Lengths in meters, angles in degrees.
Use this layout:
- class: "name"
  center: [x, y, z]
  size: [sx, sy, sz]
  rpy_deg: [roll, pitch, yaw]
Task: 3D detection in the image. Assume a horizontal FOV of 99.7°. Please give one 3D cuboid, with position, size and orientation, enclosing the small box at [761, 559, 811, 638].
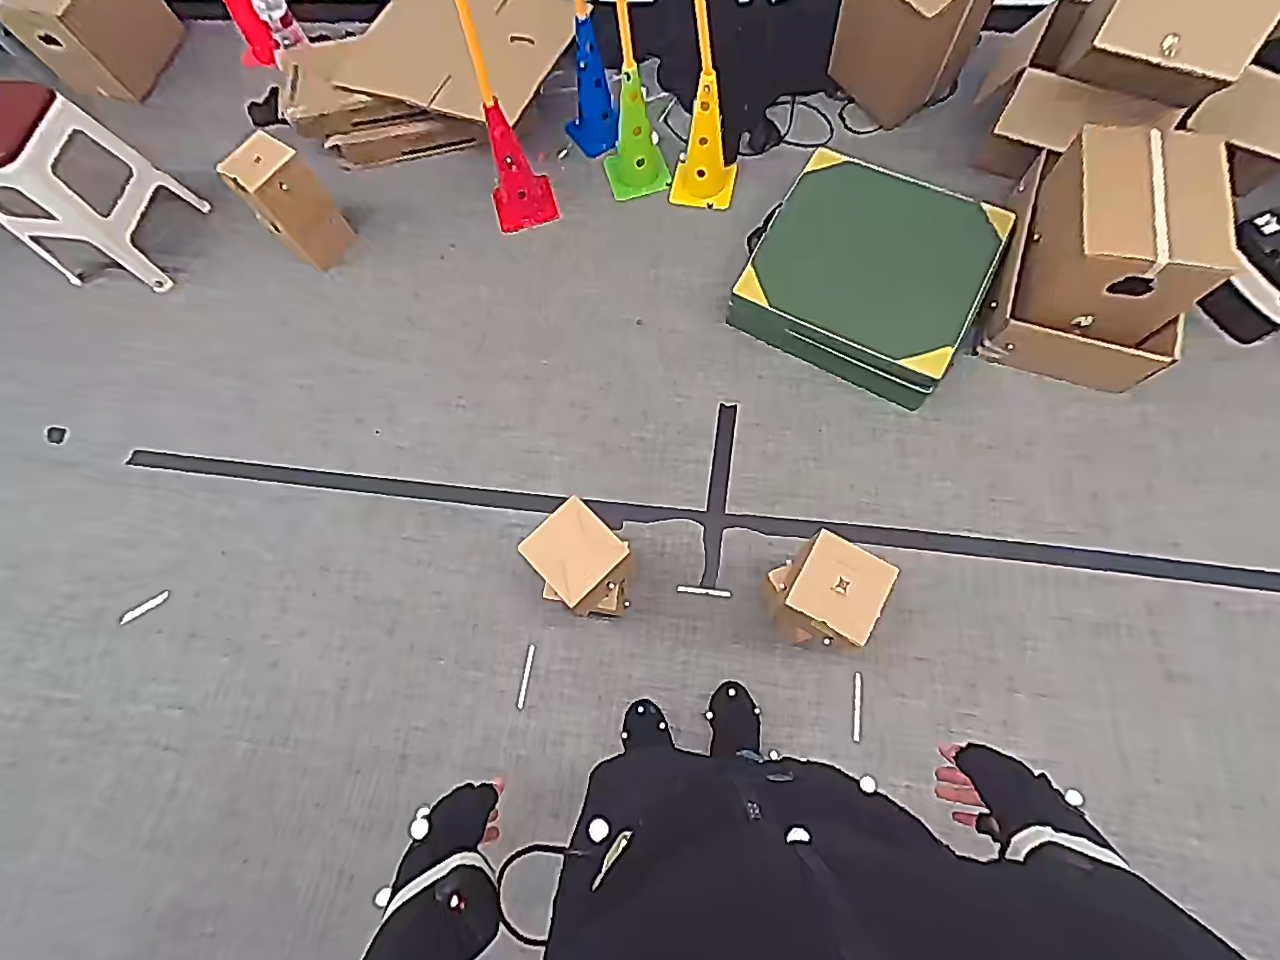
- class: "small box"
  center: [0.403, 0.272, 1.295]
  size: [0.179, 0.176, 0.168]
  rpy_deg: [-22, 73, -3]

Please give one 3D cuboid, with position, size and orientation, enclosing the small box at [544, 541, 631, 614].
- class: "small box"
  center: [-0.119, 0.233, 1.345]
  size: [0.179, 0.176, 0.168]
  rpy_deg: [9, 72, 8]

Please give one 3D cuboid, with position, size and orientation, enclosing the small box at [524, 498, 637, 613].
- class: "small box"
  center: [-0.129, 0.168, 1.190]
  size: [0.168, 0.176, 0.179]
  rpy_deg: [-44, 73, -11]

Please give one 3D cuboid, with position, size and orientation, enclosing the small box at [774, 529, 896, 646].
- class: "small box"
  center: [0.396, 0.232, 1.136]
  size: [0.168, 0.176, 0.179]
  rpy_deg: [30, 76, 11]
